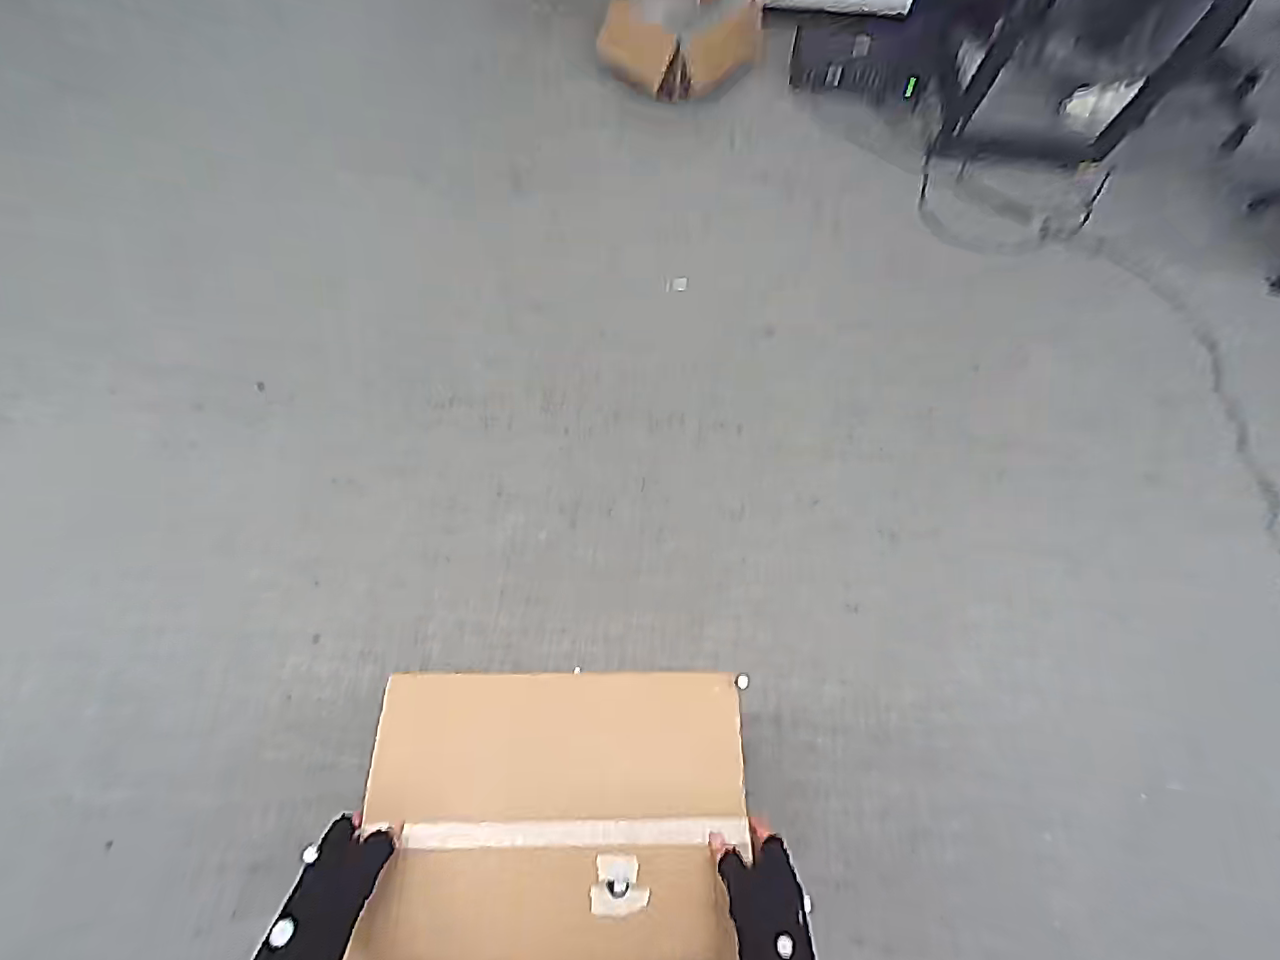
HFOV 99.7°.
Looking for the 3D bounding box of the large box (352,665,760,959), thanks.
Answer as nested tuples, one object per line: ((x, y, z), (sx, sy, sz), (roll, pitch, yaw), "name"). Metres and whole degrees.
((-0.088, 0.422, 0.707), (0.408, 0.320, 0.320), (0, 67, -1), "large box")
